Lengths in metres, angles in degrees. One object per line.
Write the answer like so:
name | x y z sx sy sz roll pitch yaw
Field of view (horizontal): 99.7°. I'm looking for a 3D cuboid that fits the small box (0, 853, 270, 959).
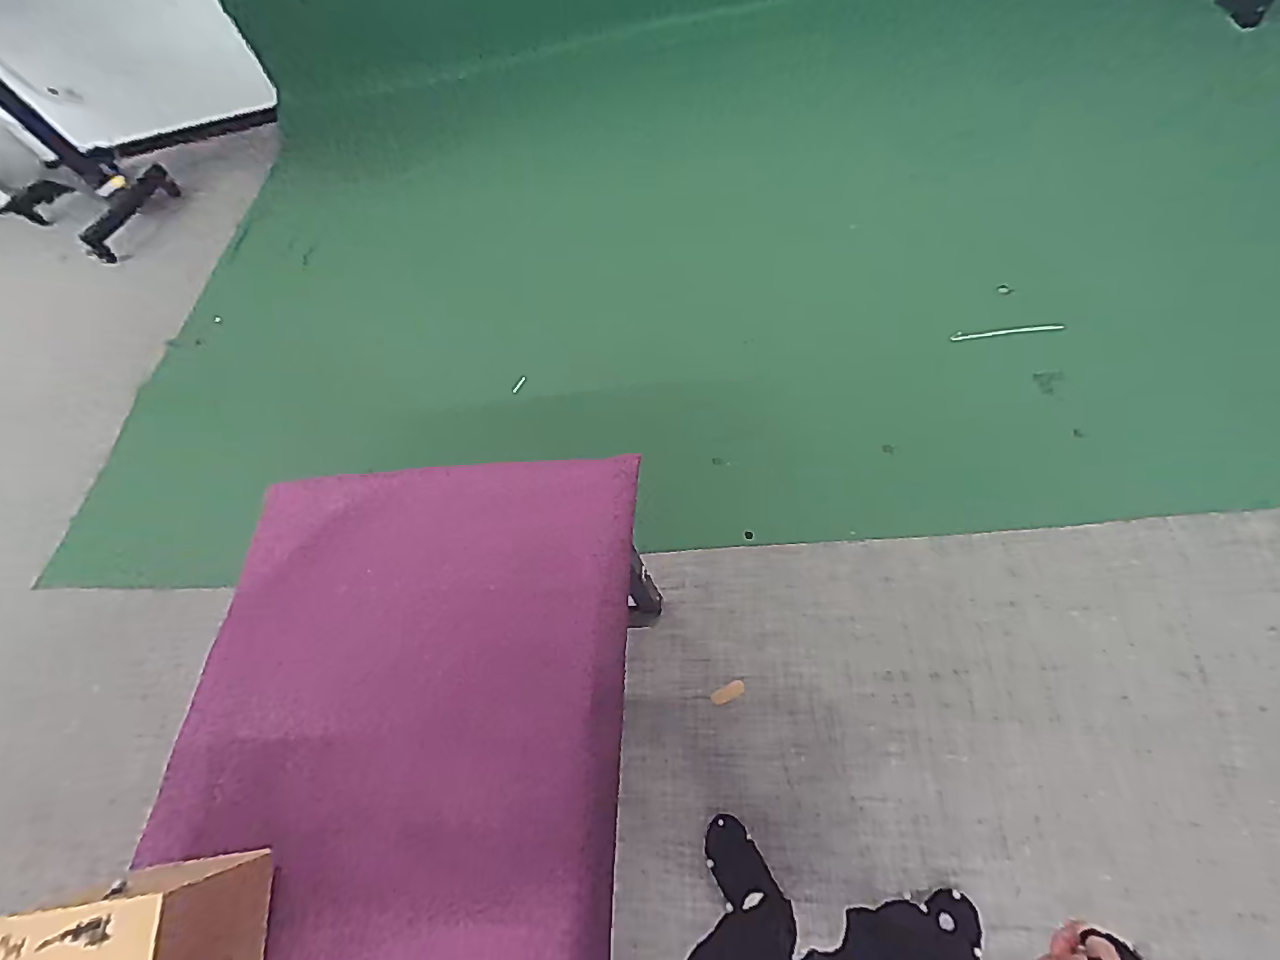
small box | -0.514 0.515 0.549 0.168 0.176 0.179 -8 69 -2
